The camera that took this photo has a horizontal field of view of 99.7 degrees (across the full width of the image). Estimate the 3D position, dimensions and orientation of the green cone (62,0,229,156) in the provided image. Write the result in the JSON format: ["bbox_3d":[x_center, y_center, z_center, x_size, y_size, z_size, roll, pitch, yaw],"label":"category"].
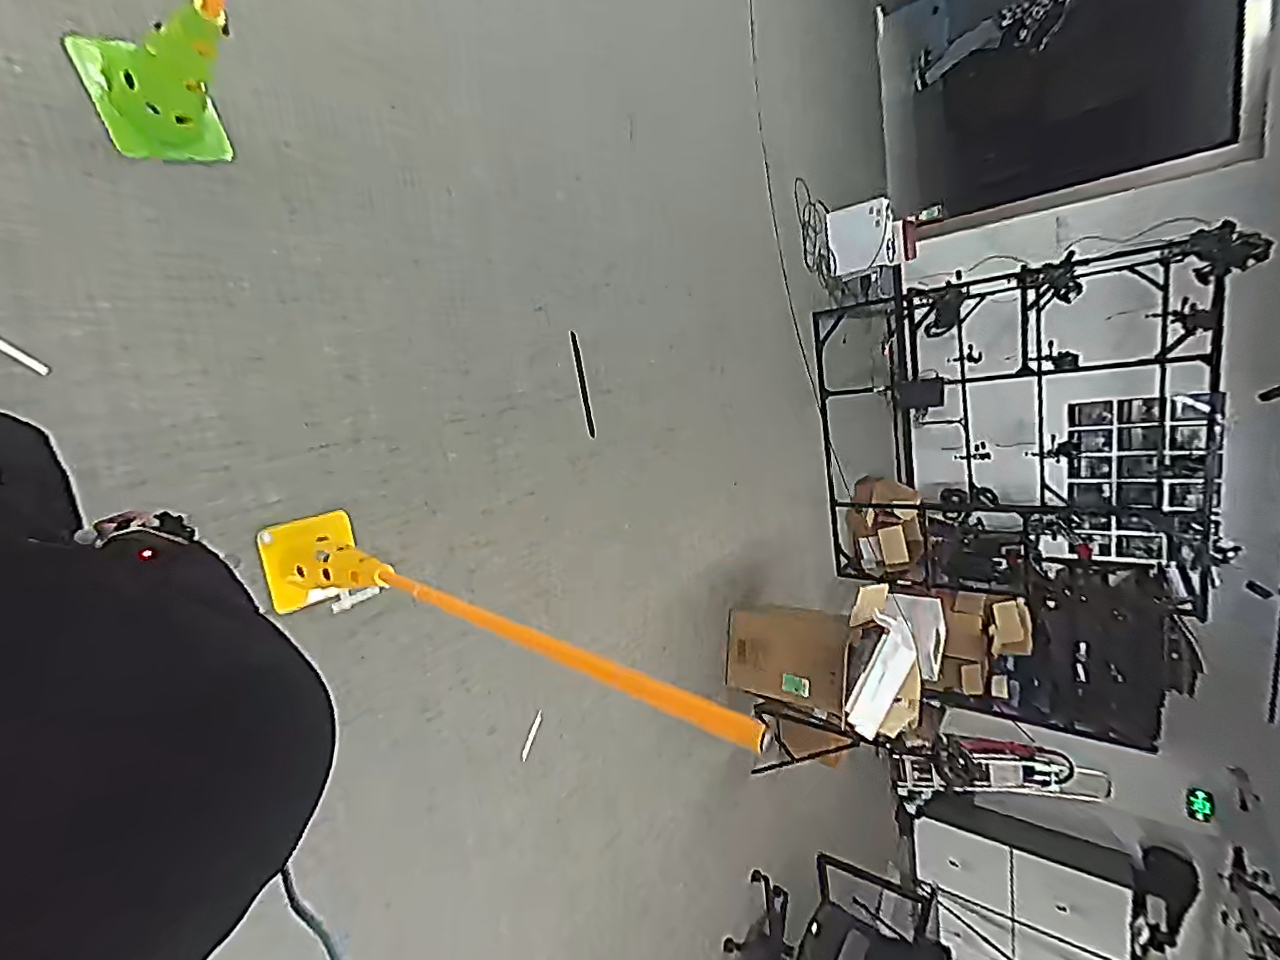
[{"bbox_3d":[-0.816,-0.740,0.949,0.200,0.368,0.202,-36,119,-45],"label":"green cone"}]
